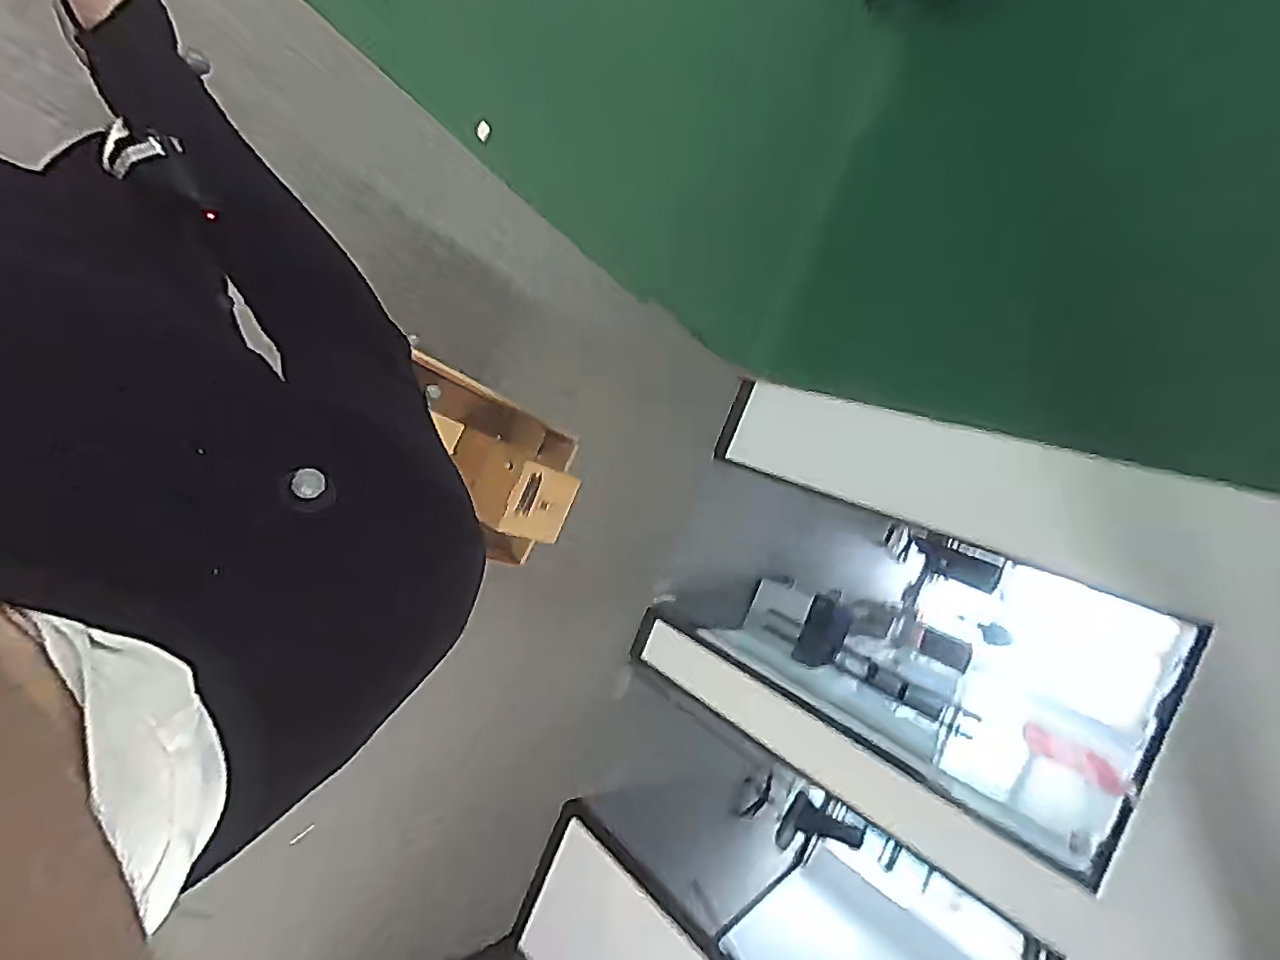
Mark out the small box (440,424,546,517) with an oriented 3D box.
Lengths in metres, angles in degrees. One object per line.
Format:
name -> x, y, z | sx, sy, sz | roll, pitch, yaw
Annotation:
small box -> -0.381, -0.027, 1.373 | 0.179, 0.176, 0.168 | 26, 89, -49
